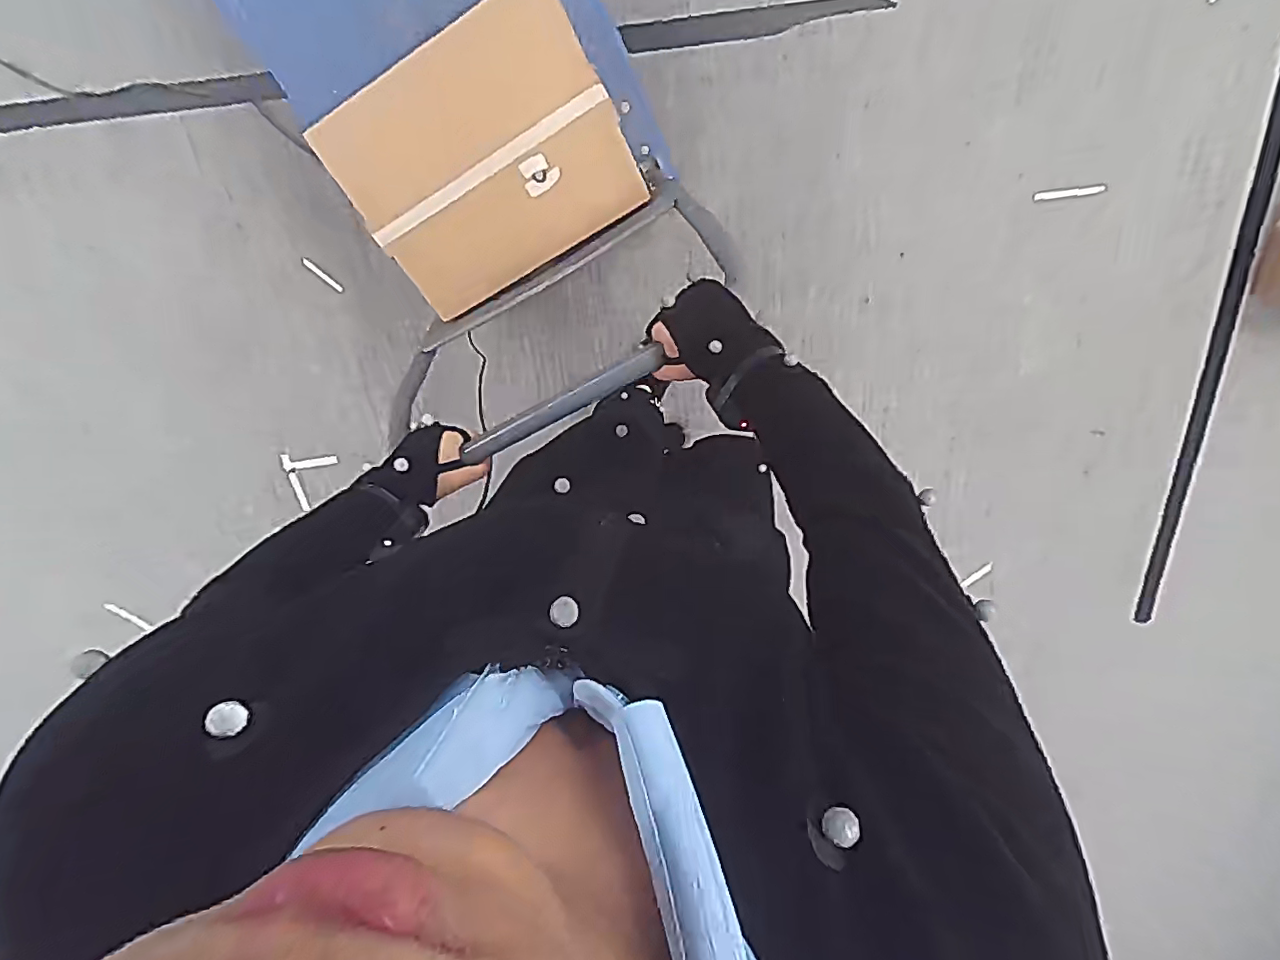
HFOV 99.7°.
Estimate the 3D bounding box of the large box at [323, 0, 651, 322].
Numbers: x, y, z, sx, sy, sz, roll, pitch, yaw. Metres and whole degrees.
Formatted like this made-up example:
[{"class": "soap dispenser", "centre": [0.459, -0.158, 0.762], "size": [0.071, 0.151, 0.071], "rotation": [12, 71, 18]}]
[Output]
[{"class": "large box", "centre": [-0.238, -0.548, 0.950], "size": [0.408, 0.320, 0.320], "rotation": [-28, 122, 11]}]
